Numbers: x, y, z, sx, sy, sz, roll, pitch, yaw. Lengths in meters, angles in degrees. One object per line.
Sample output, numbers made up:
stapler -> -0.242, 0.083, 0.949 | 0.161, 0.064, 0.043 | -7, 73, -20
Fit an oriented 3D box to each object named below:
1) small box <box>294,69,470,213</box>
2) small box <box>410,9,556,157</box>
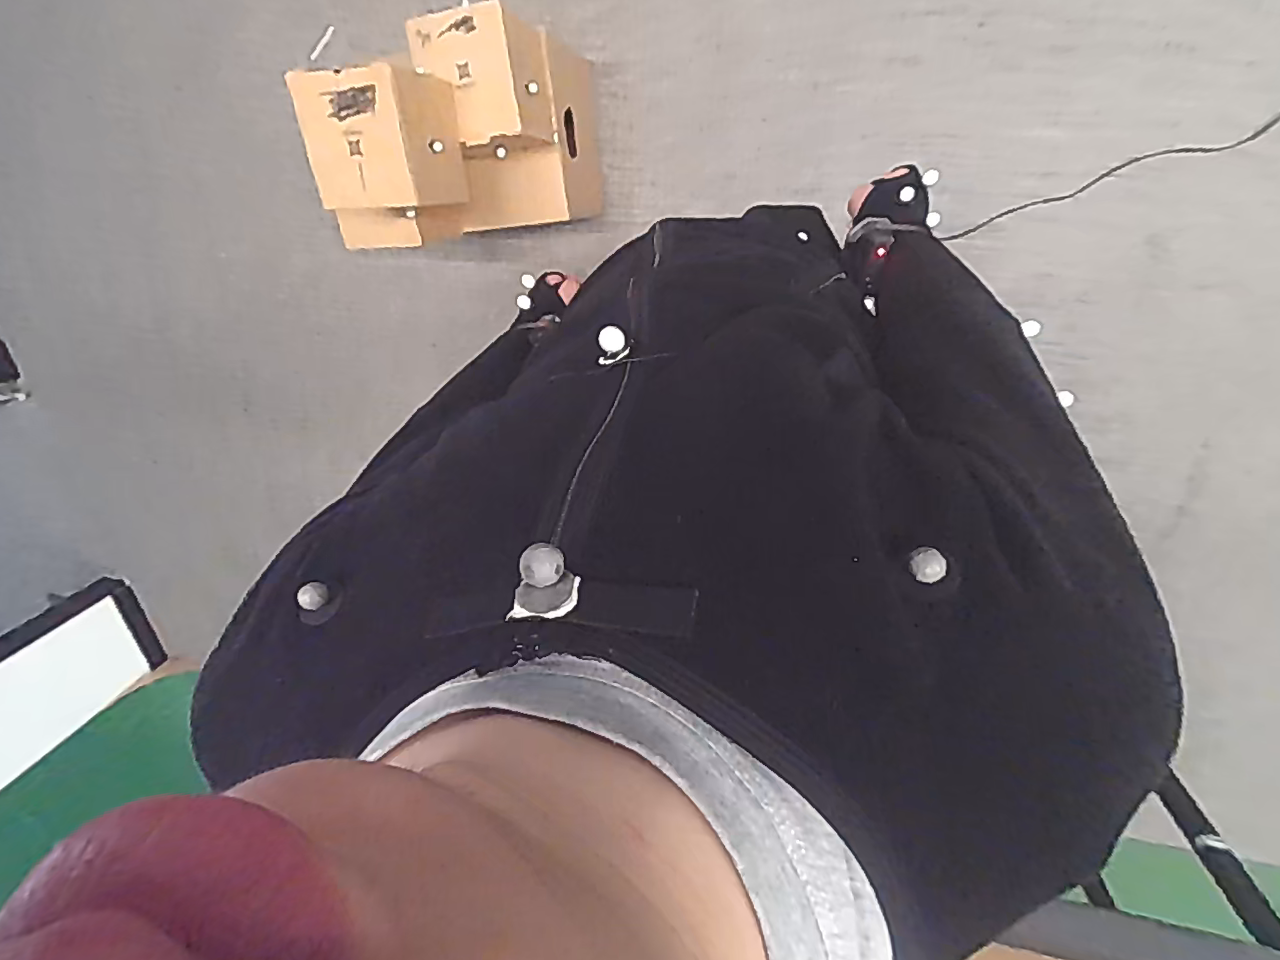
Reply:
small box -> -0.393, -0.526, 0.859 | 0.168, 0.176, 0.179 | 4, 120, 12
small box -> -0.259, -0.673, 0.941 | 0.168, 0.176, 0.179 | -1, 116, 13
